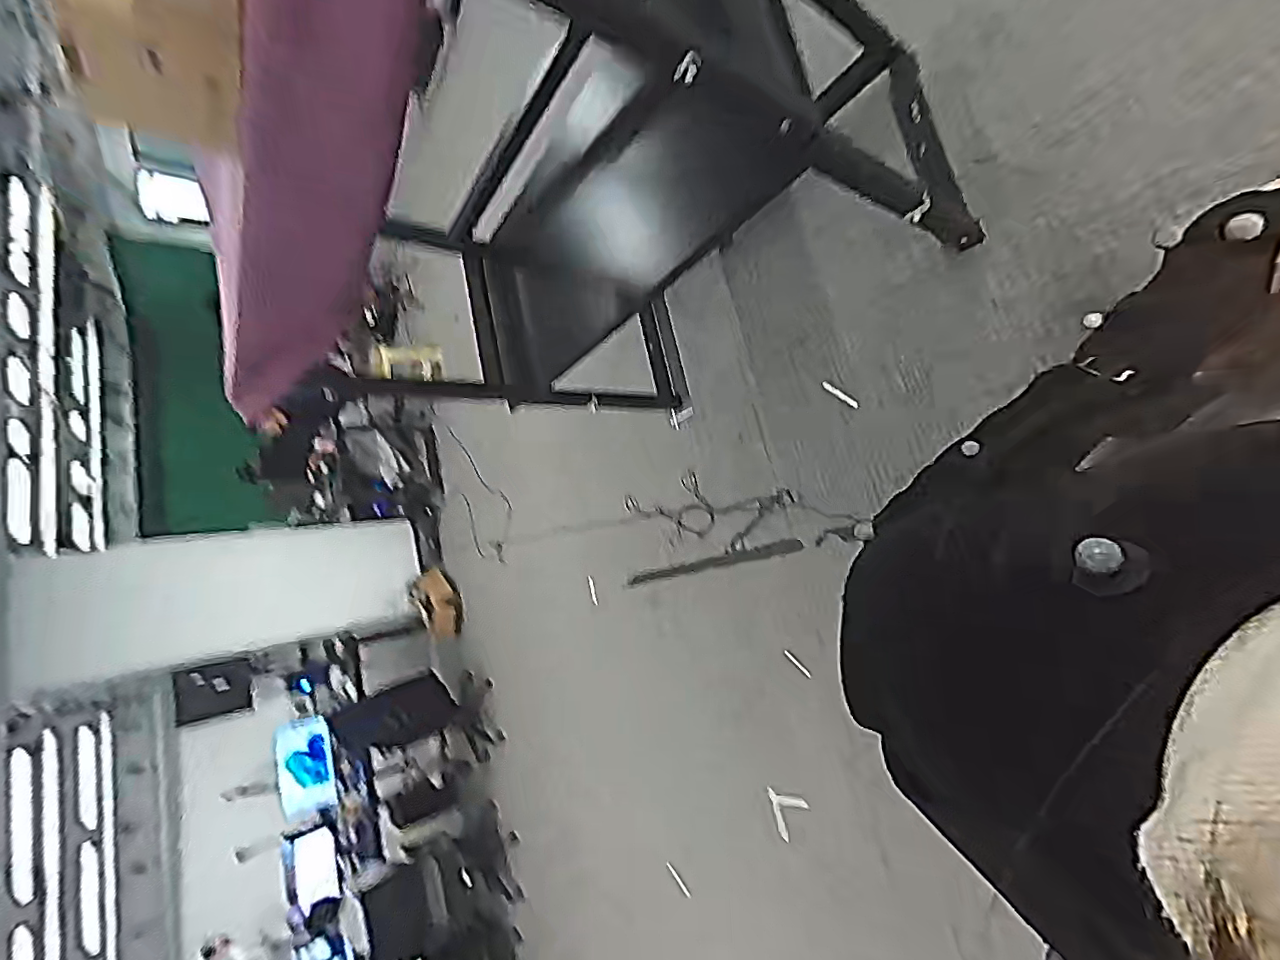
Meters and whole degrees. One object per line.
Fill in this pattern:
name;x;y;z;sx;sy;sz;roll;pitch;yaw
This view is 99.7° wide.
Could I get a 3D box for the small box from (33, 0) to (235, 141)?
small box;-0.604;-0.555;0.659;0.168;0.176;0.179;-30;69;47
